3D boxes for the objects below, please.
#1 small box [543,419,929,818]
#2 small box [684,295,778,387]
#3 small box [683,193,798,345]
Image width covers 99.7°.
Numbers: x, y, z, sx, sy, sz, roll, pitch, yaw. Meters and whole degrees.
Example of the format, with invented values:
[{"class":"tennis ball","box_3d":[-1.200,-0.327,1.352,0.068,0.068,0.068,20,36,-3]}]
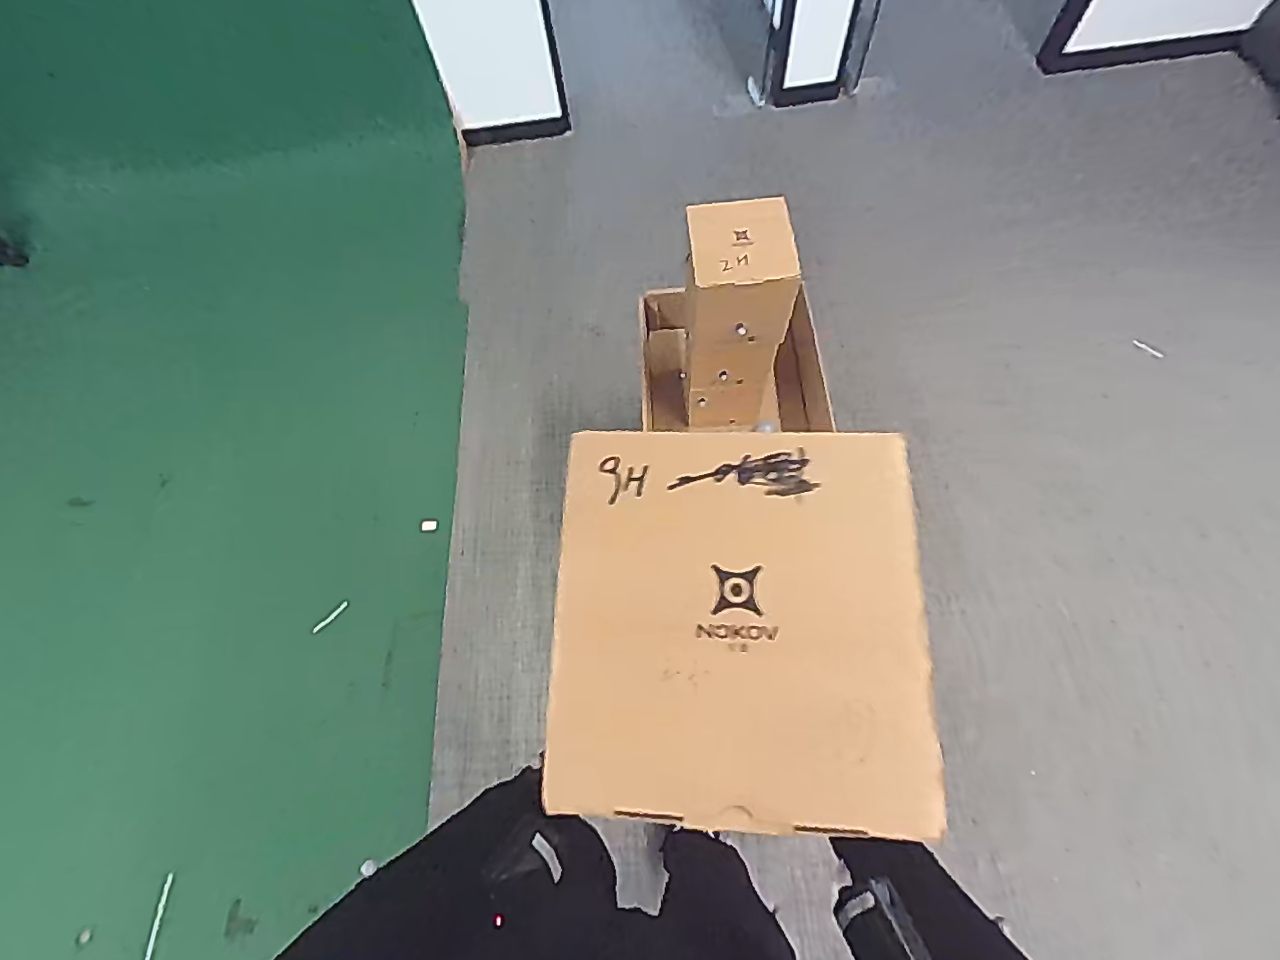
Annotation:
[{"class":"small box","box_3d":[0.049,0.074,0.326,0.168,0.176,0.179,0,75,5]},{"class":"small box","box_3d":[0.175,-0.311,1.098,0.168,0.176,0.179,-3,68,3]},{"class":"small box","box_3d":[0.163,-0.361,0.941,0.168,0.176,0.179,-5,68,3]}]
